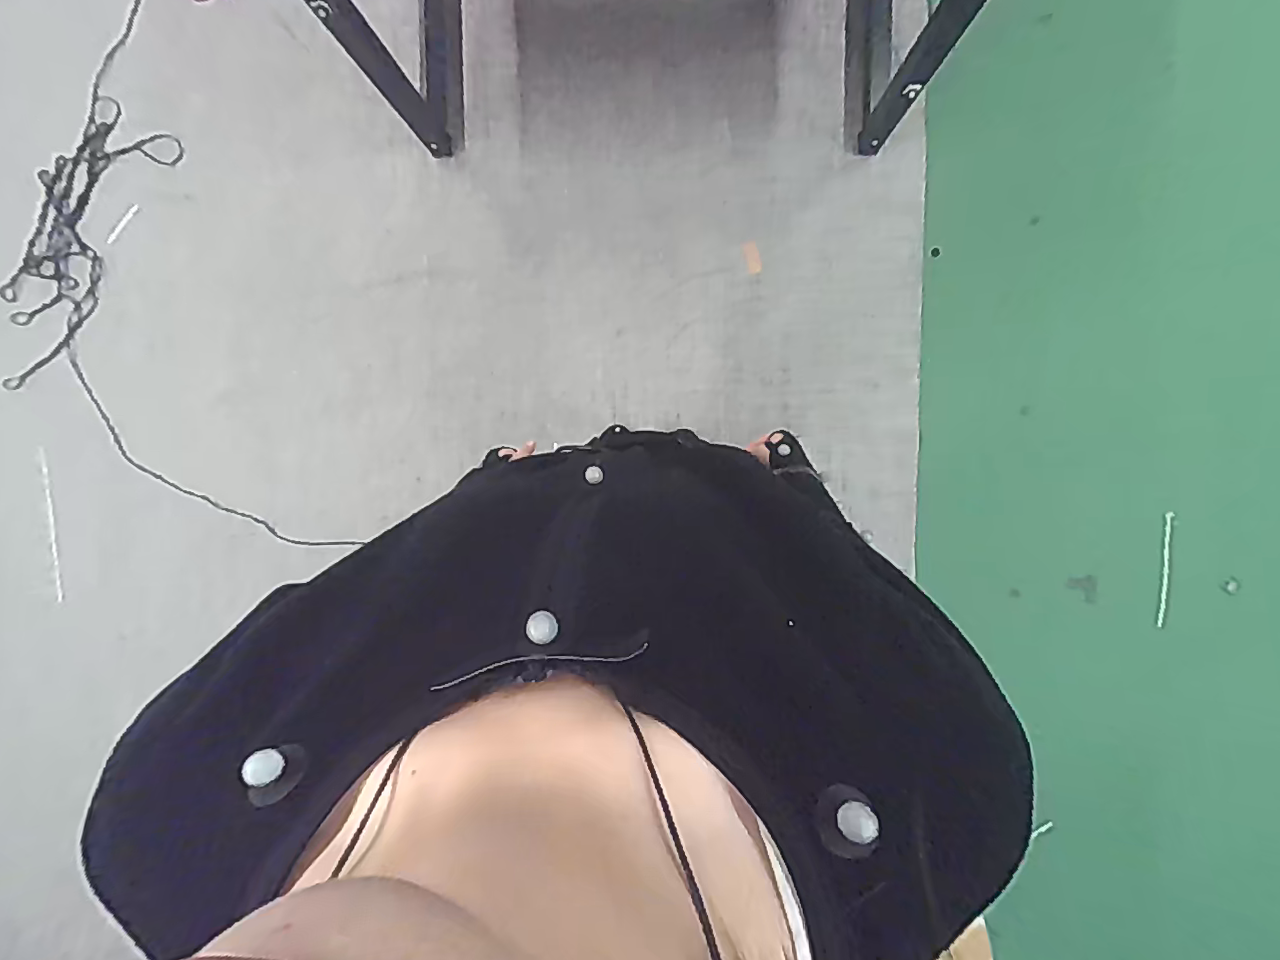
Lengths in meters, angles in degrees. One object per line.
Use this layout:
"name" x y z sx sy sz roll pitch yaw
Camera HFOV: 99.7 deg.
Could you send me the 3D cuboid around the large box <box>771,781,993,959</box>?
"large box" 0.596 1.049 1.390 0.408 0.320 0.320 -15 94 2
